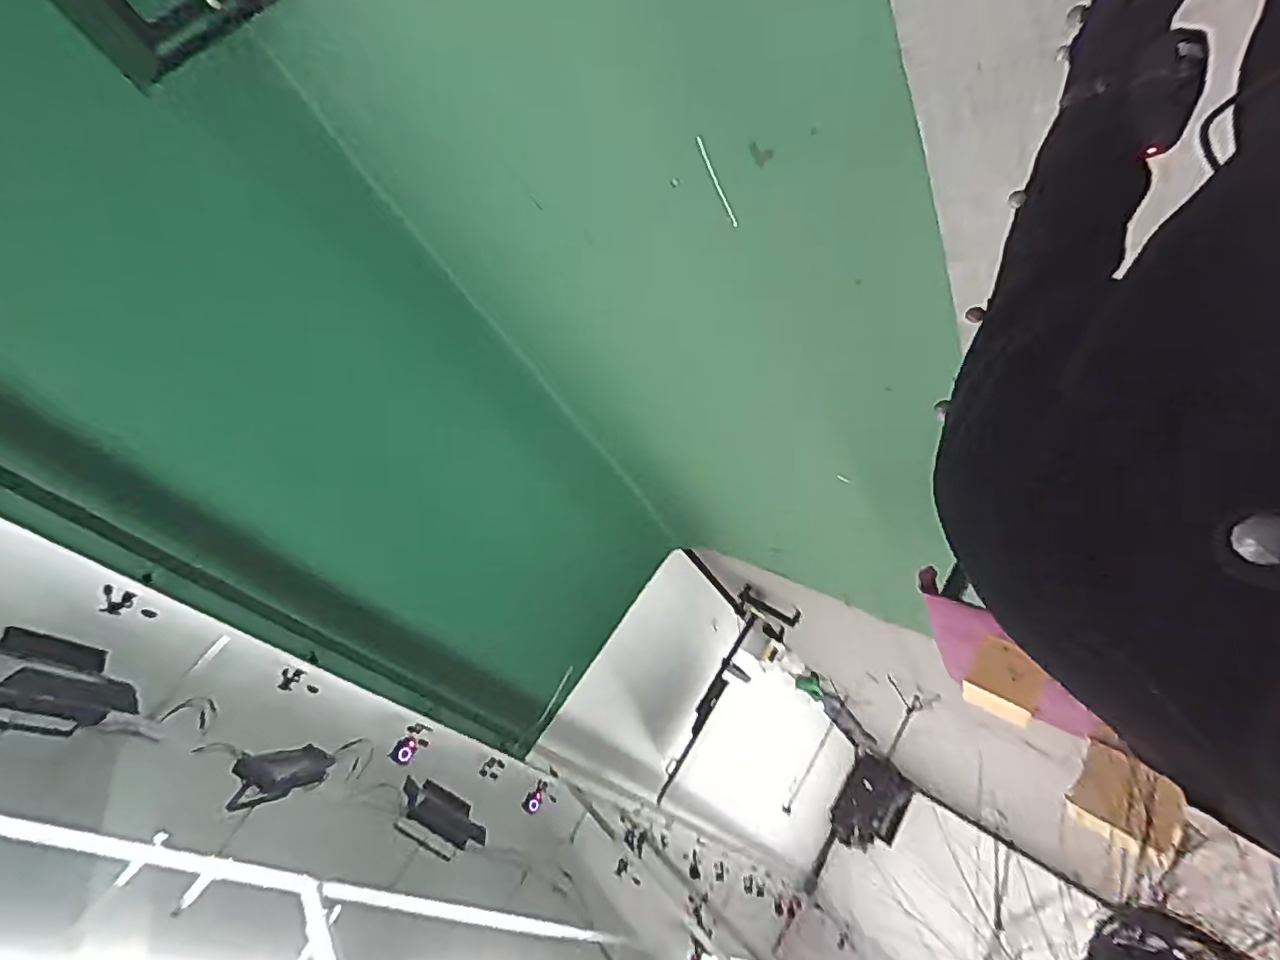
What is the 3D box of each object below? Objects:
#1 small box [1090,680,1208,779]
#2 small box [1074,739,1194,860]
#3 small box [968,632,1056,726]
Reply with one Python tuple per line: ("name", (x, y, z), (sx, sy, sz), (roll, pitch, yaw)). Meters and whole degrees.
("small box", (1.252, 0.625, 1.334), (0.179, 0.176, 0.168), (20, 158, 45))
("small box", (1.158, 0.746, 1.273), (0.179, 0.176, 0.168), (18, 156, 45))
("small box", (1.060, 0.562, 1.545), (0.168, 0.176, 0.179), (20, 157, 41))
